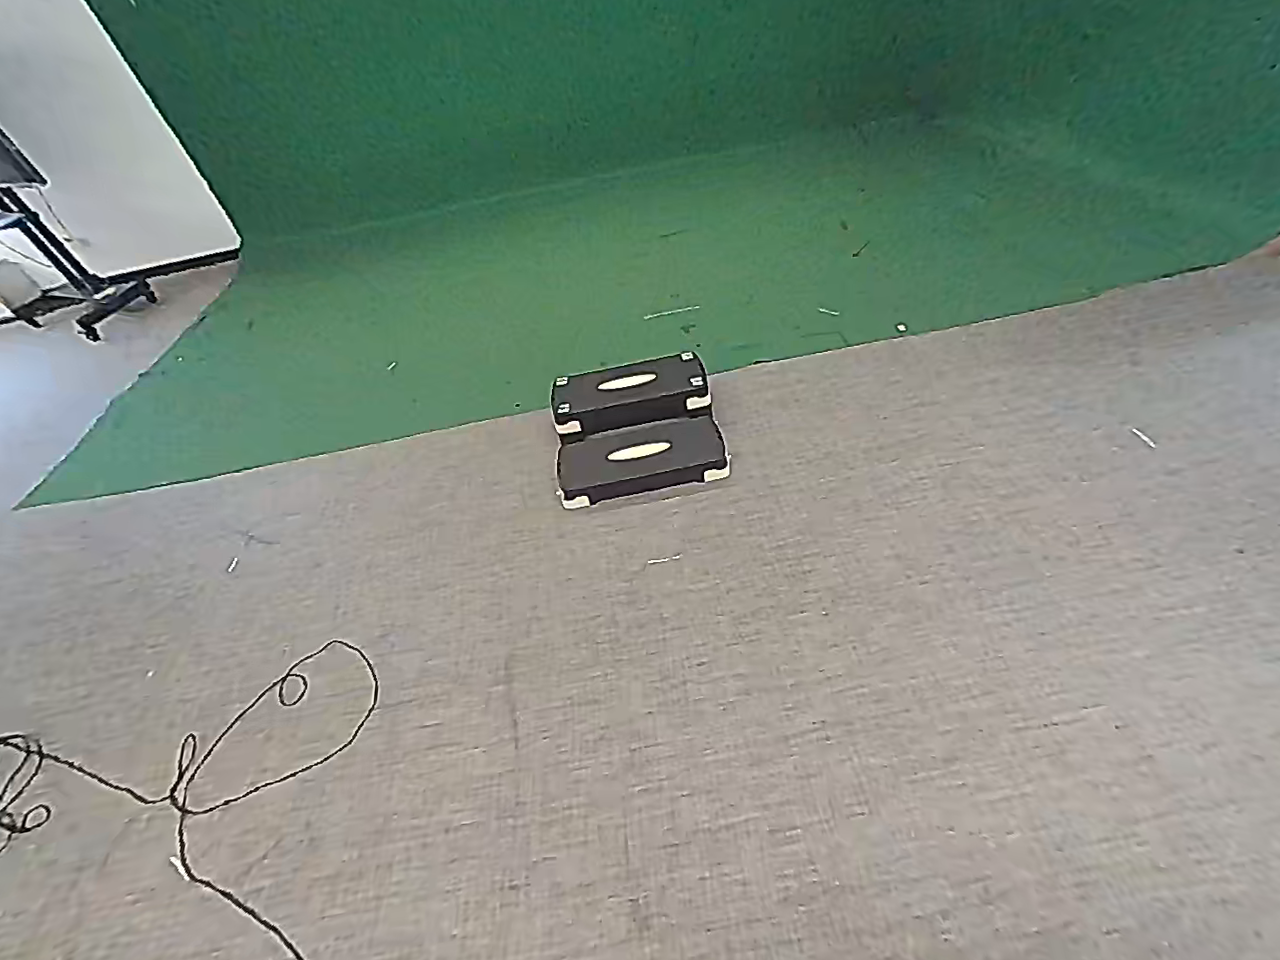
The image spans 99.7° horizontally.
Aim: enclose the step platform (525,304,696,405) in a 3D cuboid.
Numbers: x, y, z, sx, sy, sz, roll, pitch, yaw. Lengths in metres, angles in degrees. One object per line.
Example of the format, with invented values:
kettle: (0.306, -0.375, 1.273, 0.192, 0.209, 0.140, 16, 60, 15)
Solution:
step platform: (-0.114, -0.516, 2.227, 0.684, 0.204, 0.286, -12, 46, 1)
